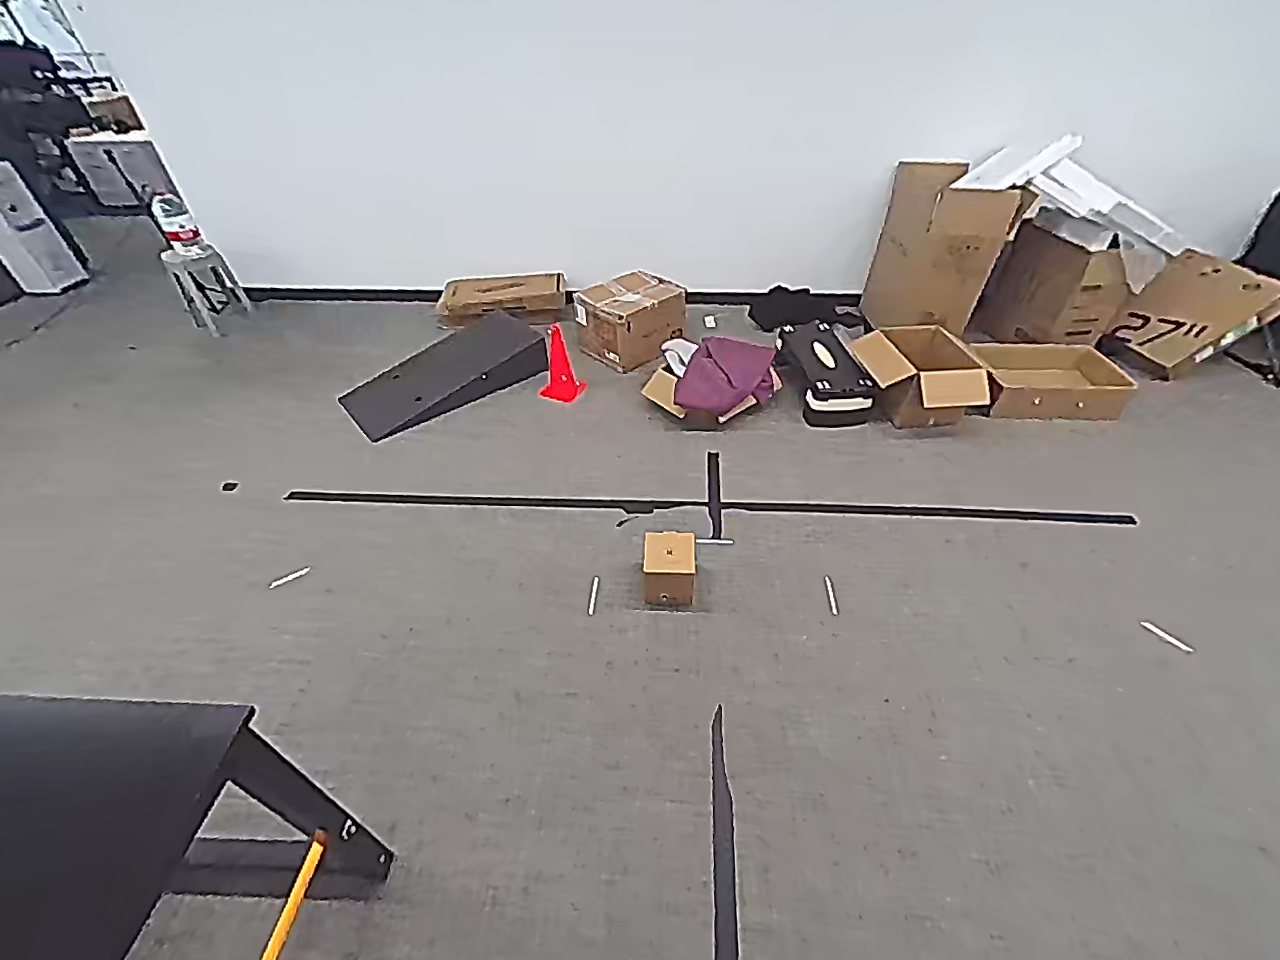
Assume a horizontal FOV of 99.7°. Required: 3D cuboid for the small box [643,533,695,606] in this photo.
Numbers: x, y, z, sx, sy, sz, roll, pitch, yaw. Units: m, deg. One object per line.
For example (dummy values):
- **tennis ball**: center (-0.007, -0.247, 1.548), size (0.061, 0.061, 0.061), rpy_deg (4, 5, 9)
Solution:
- **small box**: center (0.097, 0.299, 1.812), size (0.168, 0.176, 0.179), rpy_deg (0, 43, 3)
